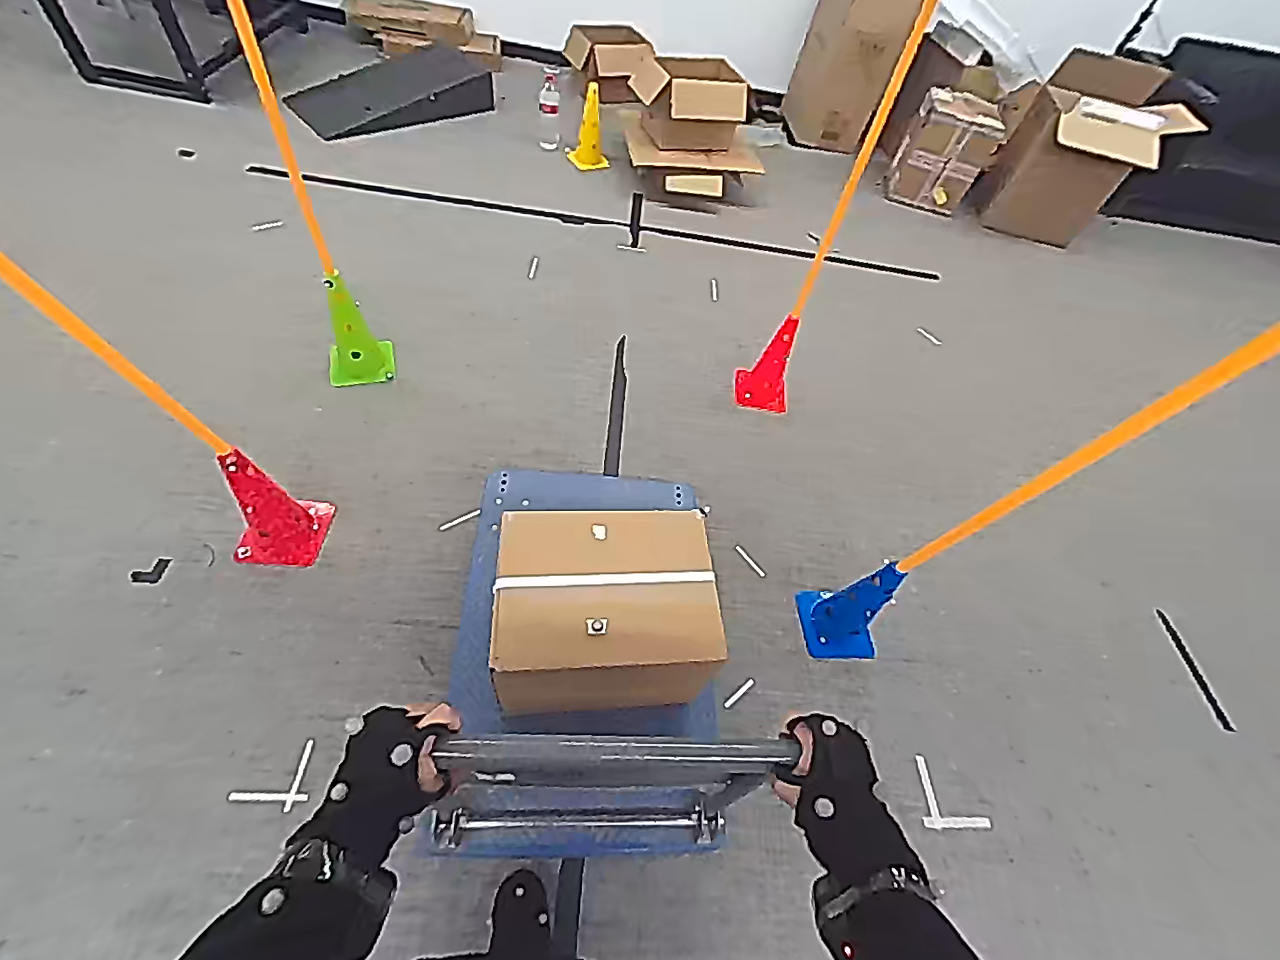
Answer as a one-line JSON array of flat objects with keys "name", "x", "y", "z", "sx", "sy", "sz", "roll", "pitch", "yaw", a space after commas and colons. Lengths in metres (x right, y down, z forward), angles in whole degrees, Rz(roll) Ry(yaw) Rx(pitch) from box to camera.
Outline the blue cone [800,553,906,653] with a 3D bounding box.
[{"name": "blue cone", "x": 0.590, "y": 0.307, "z": 1.425, "sx": 0.193, "sy": 0.380, "sz": 0.192, "roll": 4, "pitch": 53, "yaw": -9}]

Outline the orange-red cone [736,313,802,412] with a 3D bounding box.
[{"name": "orange-red cone", "x": 0.496, "y": -0.444, "z": 1.932, "sx": 0.199, "sy": 0.360, "sz": 0.198, "roll": 13, "pitch": 54, "yaw": -3}]
